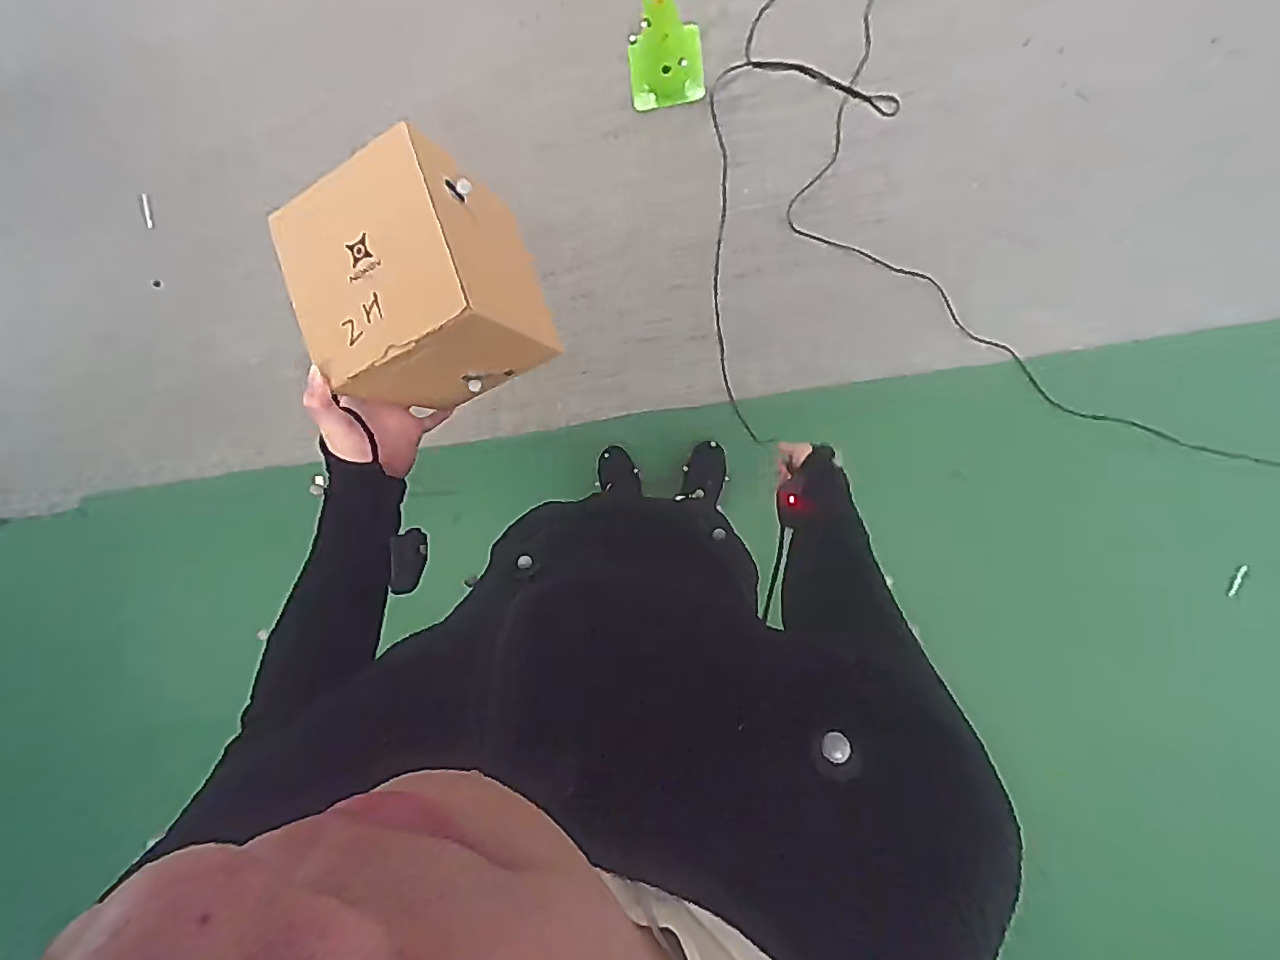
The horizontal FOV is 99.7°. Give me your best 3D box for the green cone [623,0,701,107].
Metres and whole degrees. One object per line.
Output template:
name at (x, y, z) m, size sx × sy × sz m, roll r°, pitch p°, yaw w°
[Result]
green cone at (0.042, -1.123, 1.314) m, size 0.202 × 0.368 × 0.200 m, roll -7°, pitch 95°, yaw 6°
